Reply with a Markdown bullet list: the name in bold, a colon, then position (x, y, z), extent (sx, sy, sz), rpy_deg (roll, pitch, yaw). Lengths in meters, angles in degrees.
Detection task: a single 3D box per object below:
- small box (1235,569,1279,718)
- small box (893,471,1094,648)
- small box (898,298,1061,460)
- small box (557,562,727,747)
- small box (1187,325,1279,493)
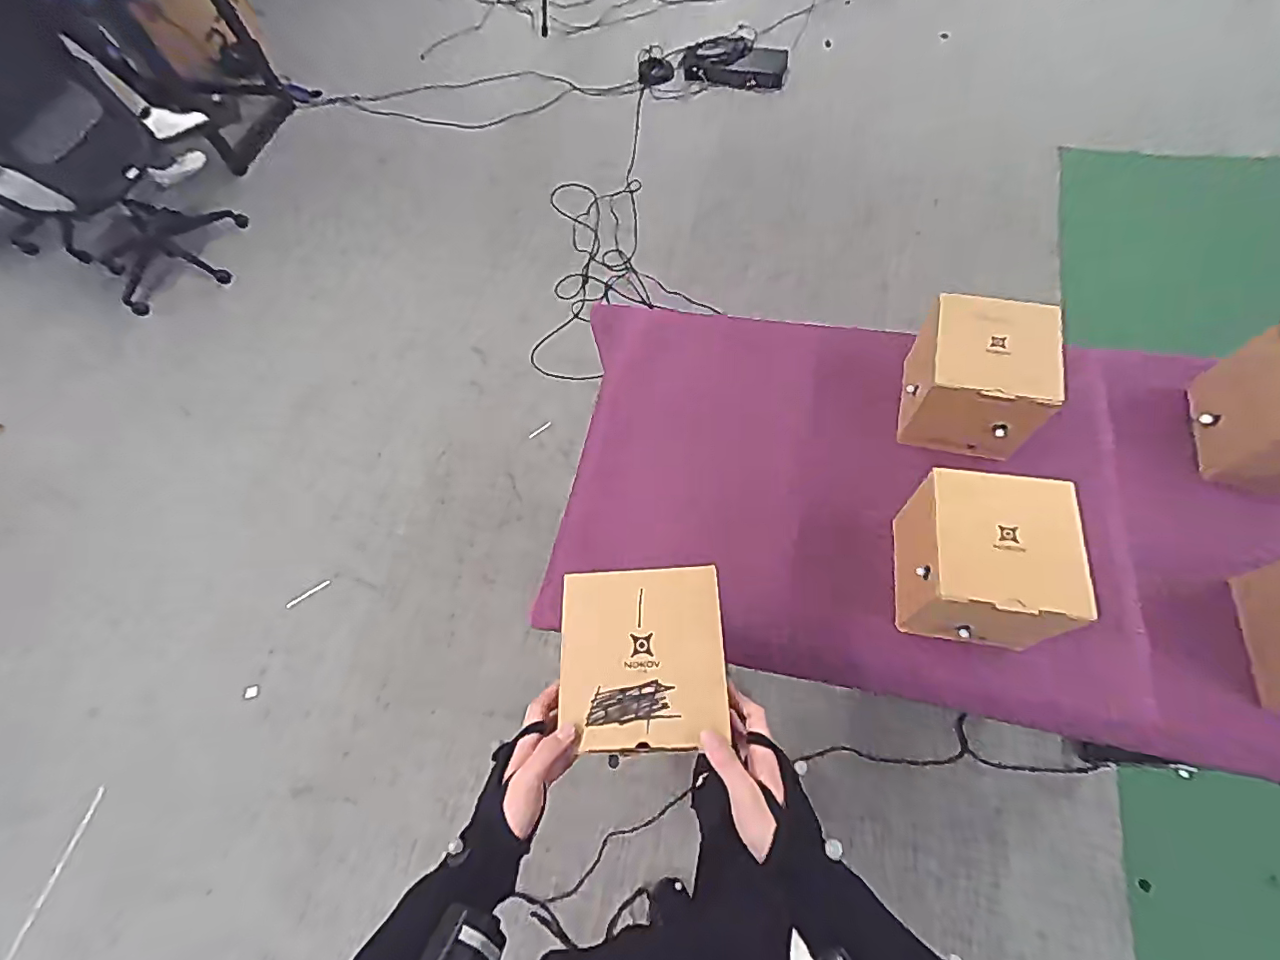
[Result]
- **small box**: position (0.861, 0.191, 0.624), extent (0.168, 0.176, 0.179), rpy_deg (8, 64, 13)
- **small box**: position (0.448, 0.110, 0.721), extent (0.168, 0.176, 0.179), rpy_deg (7, 64, 10)
- **small box**: position (0.518, -0.151, 0.844), extent (0.168, 0.176, 0.179), rpy_deg (12, 66, 12)
- **small box**: position (0.011, 0.204, 0.613), extent (0.168, 0.176, 0.179), rpy_deg (-4, 62, 6)
- **small box**: position (0.931, -0.087, 0.757), extent (0.168, 0.176, 0.179), rpy_deg (11, 68, 12)
